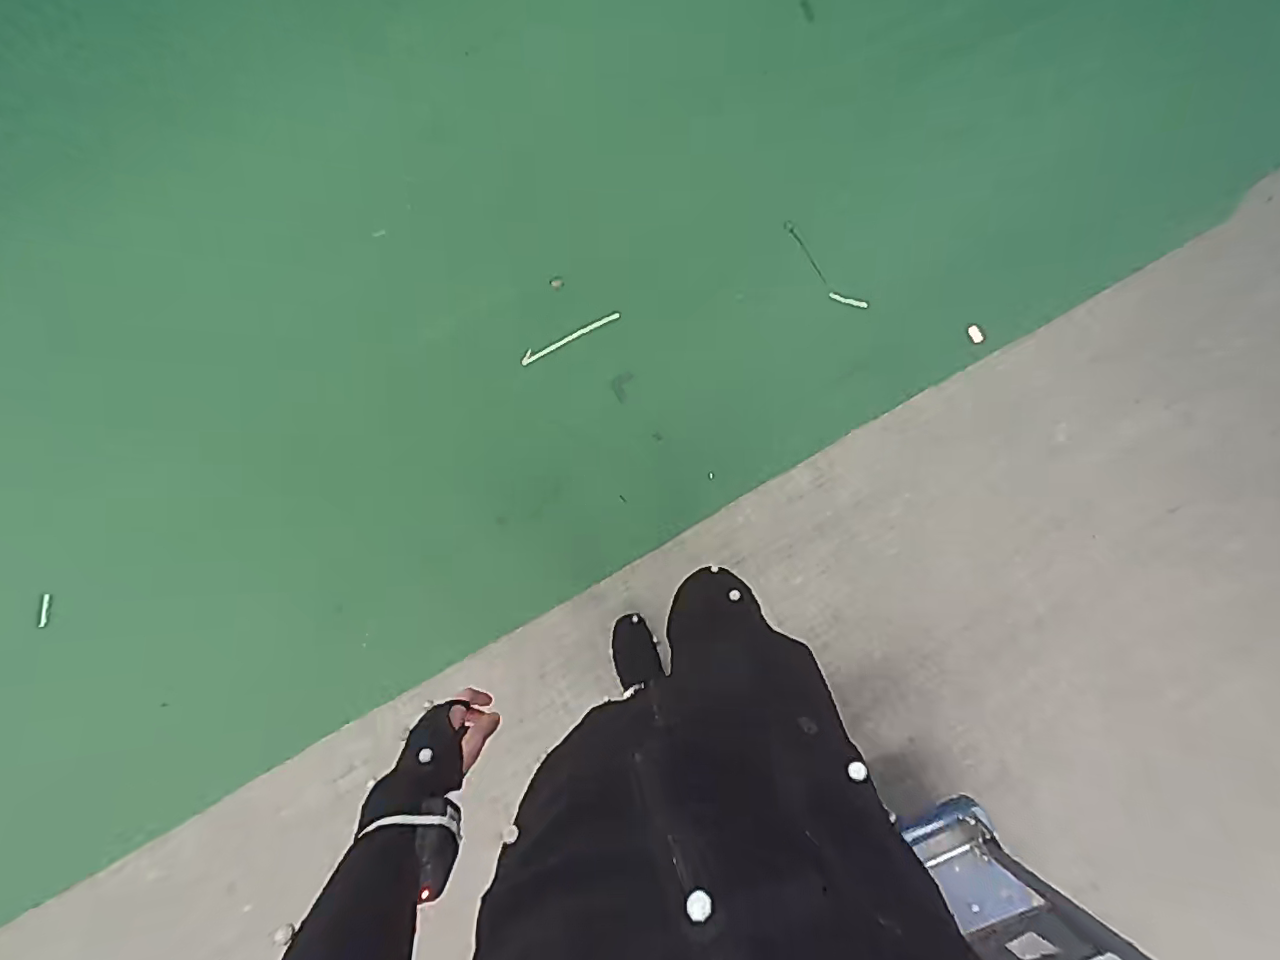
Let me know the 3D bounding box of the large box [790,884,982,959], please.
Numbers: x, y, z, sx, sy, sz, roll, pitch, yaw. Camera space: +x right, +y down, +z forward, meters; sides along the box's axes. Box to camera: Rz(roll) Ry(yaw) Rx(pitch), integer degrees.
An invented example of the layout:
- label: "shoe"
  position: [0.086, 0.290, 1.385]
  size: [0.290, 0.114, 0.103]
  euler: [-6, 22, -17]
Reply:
- label: "large box"
  position: [0.528, 1.069, 0.971]
  size: [0.320, 0.320, 0.408]
  euler: [-23, 80, -3]
